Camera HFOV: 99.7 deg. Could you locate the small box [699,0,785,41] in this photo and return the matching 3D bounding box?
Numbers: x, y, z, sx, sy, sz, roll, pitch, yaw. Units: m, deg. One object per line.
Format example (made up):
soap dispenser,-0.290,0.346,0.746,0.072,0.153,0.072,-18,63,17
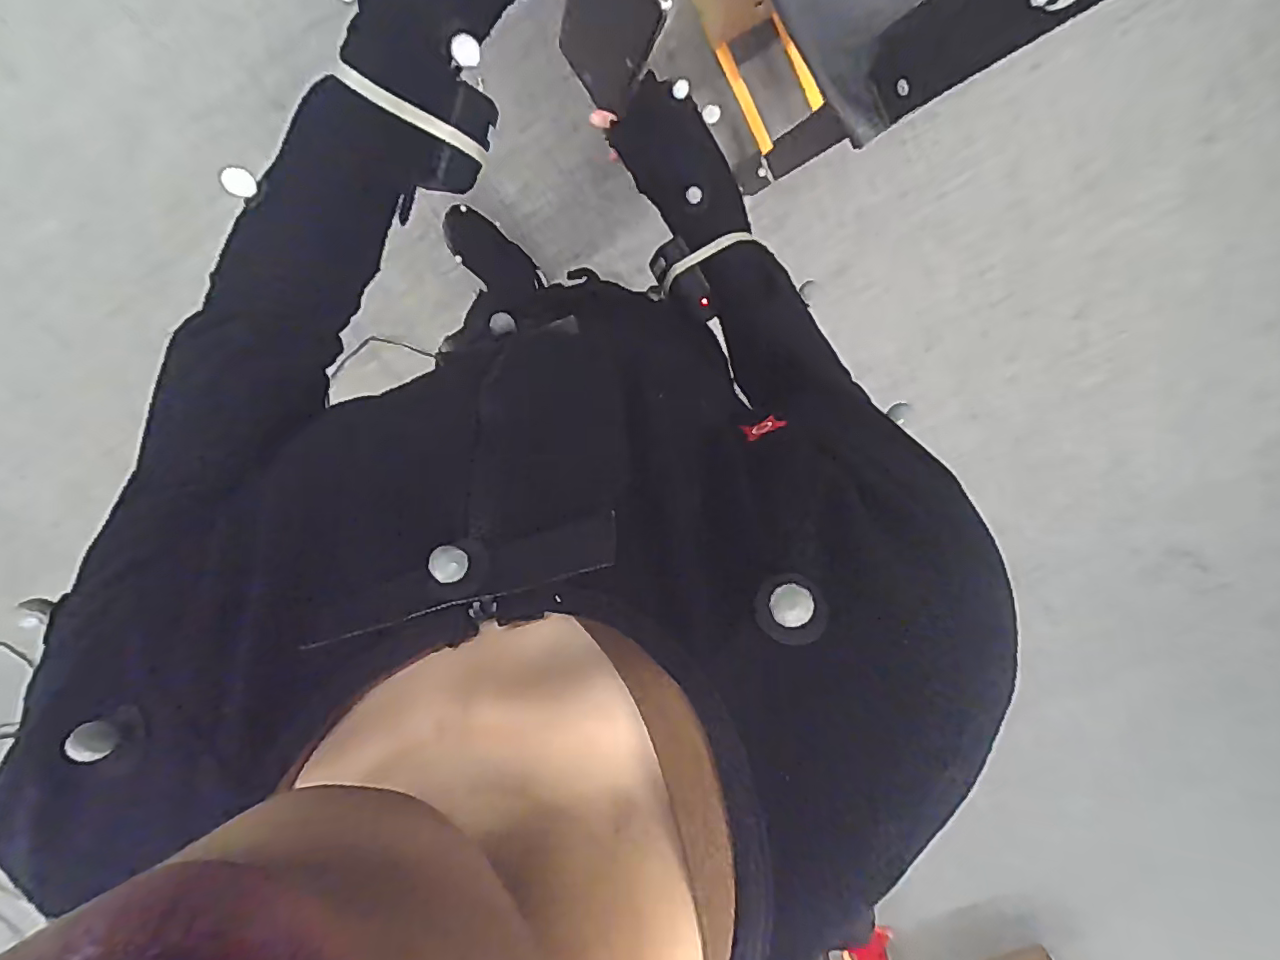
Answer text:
small box,0.186,-0.939,0.962,0.179,0.176,0.168,-26,110,9
